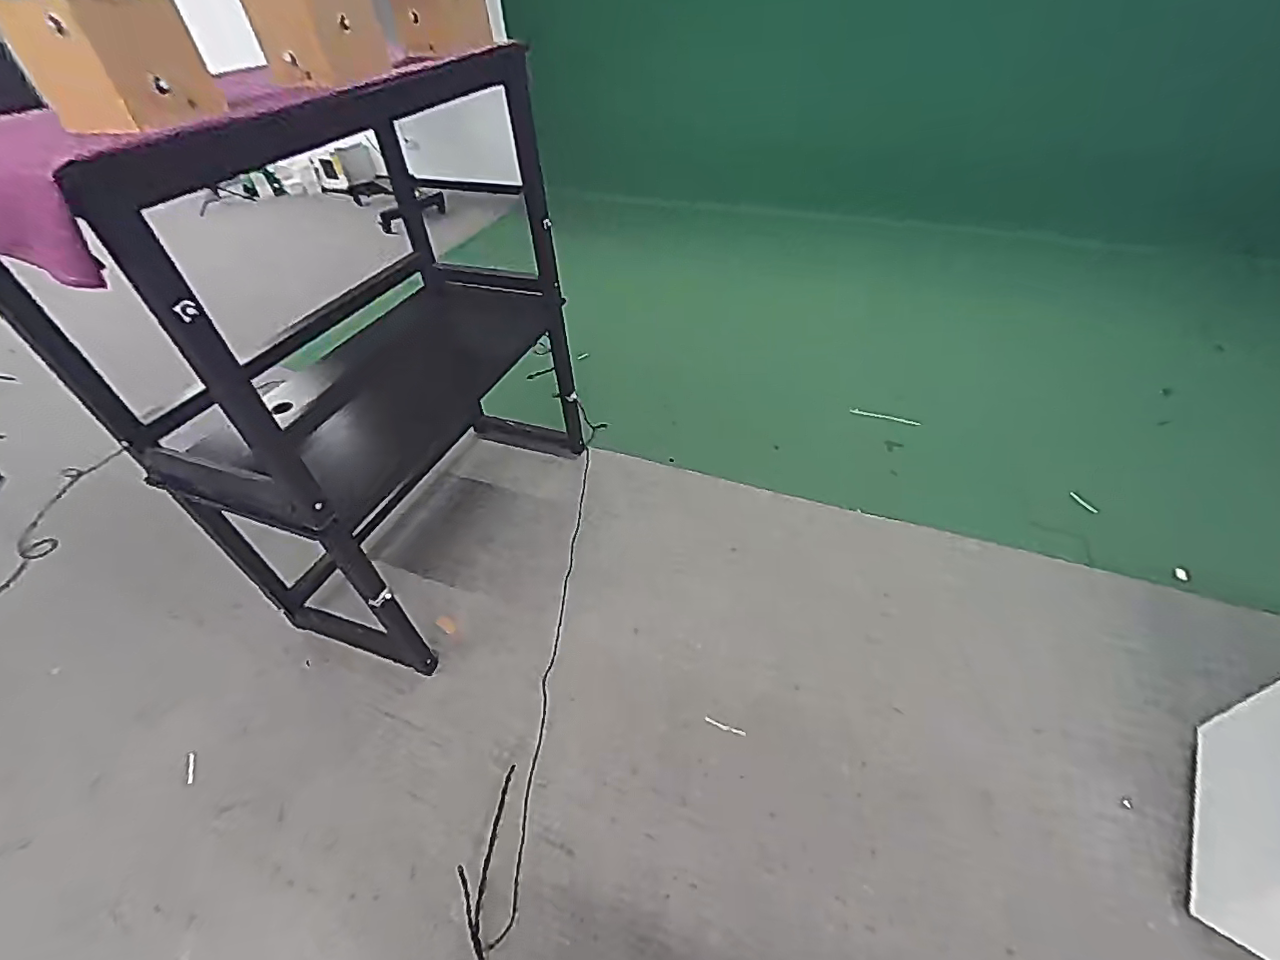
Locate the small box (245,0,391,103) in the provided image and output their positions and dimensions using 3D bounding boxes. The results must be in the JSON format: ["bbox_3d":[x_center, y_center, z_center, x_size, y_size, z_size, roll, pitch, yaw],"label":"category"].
[{"bbox_3d":[-0.650,-0.901,1.122,0.168,0.176,0.179,13,47,19],"label":"small box"}]

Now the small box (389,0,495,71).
[{"bbox_3d":[-0.494,-1.157,1.372,0.168,0.176,0.179,18,49,20],"label":"small box"}]

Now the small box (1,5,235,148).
[{"bbox_3d":[-0.825,-0.649,0.875,0.179,0.176,0.168,10,45,15],"label":"small box"}]
